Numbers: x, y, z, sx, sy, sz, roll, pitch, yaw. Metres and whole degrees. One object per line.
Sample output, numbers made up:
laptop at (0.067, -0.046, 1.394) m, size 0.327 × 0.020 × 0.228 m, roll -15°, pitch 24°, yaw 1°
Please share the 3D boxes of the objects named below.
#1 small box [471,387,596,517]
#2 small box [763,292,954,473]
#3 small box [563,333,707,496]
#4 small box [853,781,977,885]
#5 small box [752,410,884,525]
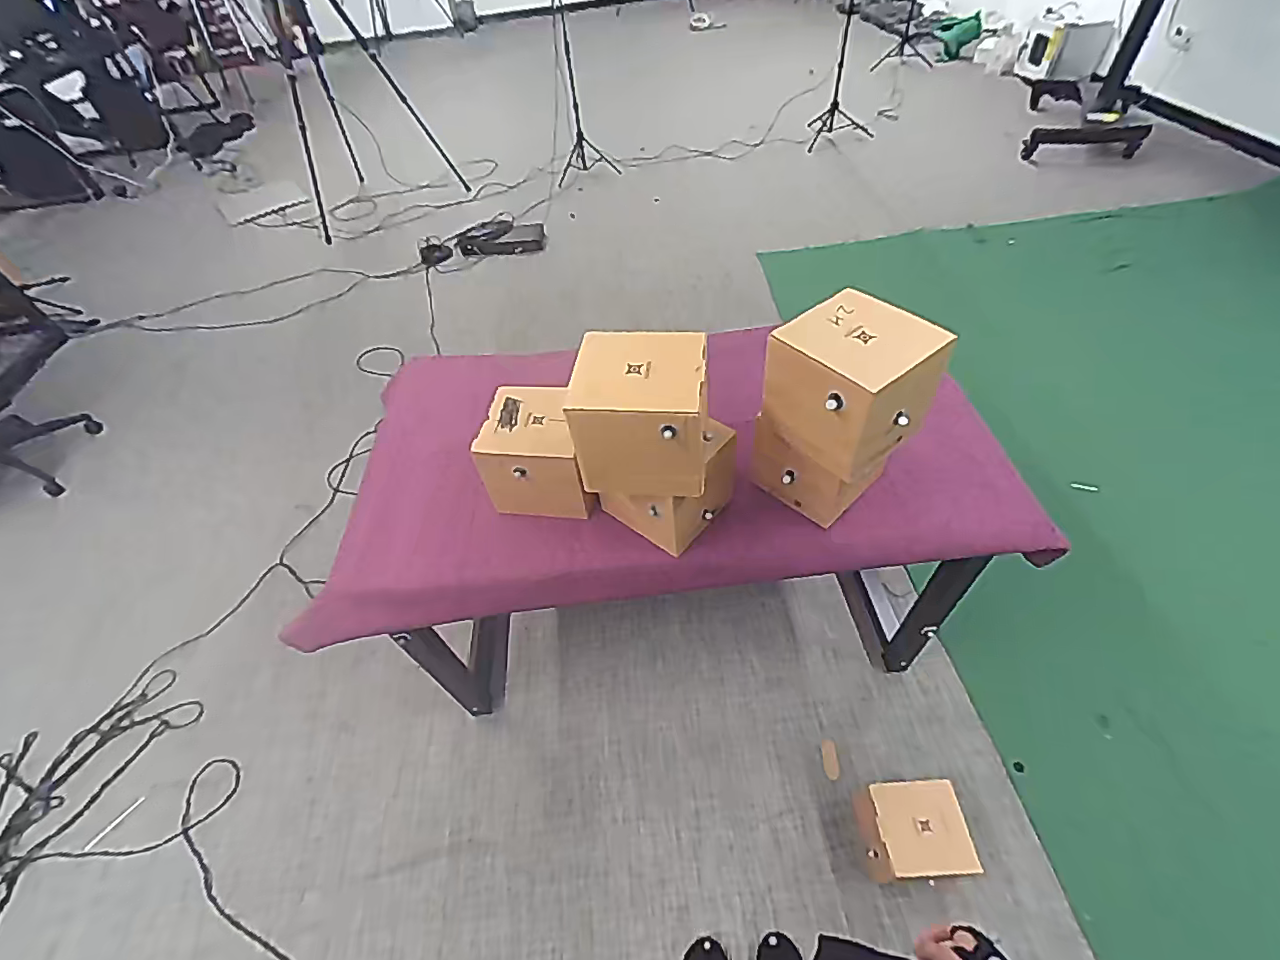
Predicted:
small box at (-0.172, -0.048, 0.970) m, size 0.179 × 0.176 × 0.168 m, roll 4°, pitch 51°, yaw 8°
small box at (0.298, -0.134, 0.776) m, size 0.168 × 0.176 × 0.179 m, roll -32°, pitch 52°, yaw -20°
small box at (0.004, -0.092, 0.775) m, size 0.179 × 0.176 × 0.168 m, roll 3°, pitch 50°, yaw 8°
small box at (0.575, 0.762, 1.165) m, size 0.179 × 0.176 × 0.168 m, roll -4°, pitch 50°, yaw 2°
small box at (0.309, -0.056, 0.927) m, size 0.179 × 0.176 × 0.168 m, roll -38°, pitch 56°, yaw -23°
